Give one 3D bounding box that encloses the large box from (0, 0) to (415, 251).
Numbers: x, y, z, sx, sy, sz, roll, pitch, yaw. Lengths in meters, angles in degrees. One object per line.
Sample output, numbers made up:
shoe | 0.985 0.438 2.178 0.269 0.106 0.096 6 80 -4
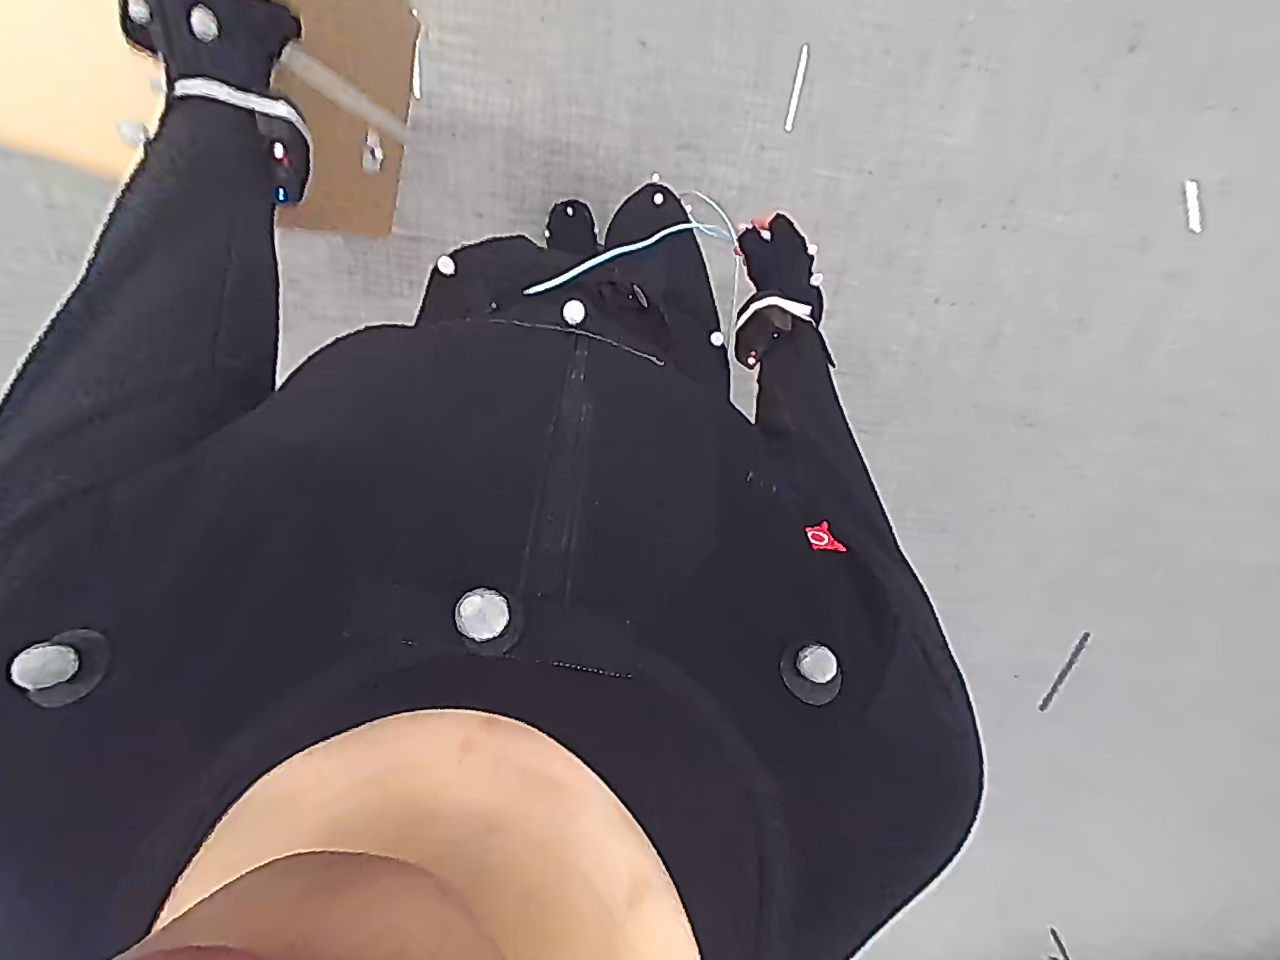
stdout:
large box | -0.493 -0.476 0.638 0.320 0.408 0.320 13 110 -13
